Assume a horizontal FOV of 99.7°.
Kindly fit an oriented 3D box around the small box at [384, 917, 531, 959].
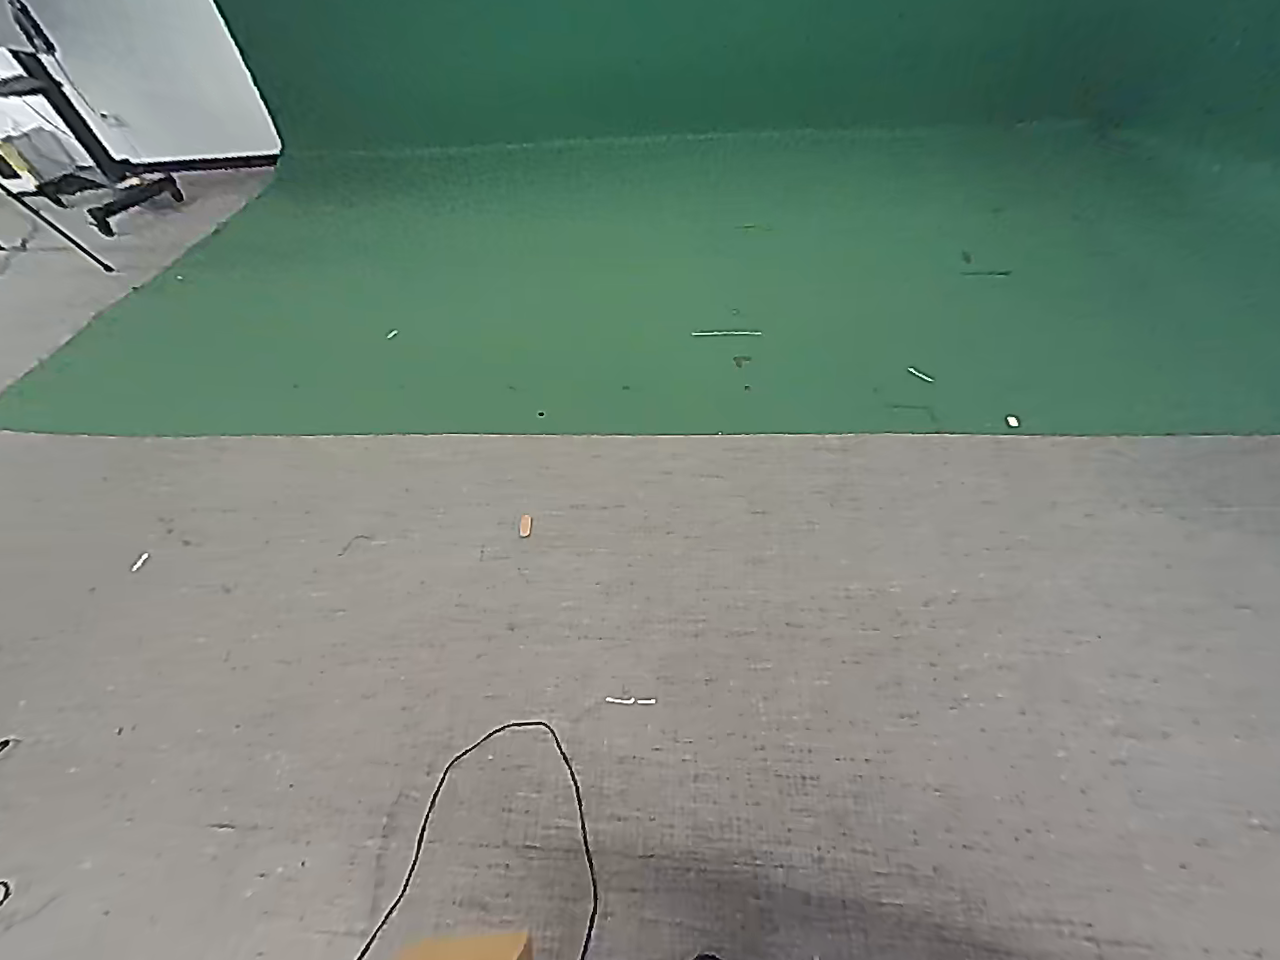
[{"bbox_3d":[-0.228,0.661,0.633,0.168,0.179,0.176,-6,80,3],"label":"small box"}]
